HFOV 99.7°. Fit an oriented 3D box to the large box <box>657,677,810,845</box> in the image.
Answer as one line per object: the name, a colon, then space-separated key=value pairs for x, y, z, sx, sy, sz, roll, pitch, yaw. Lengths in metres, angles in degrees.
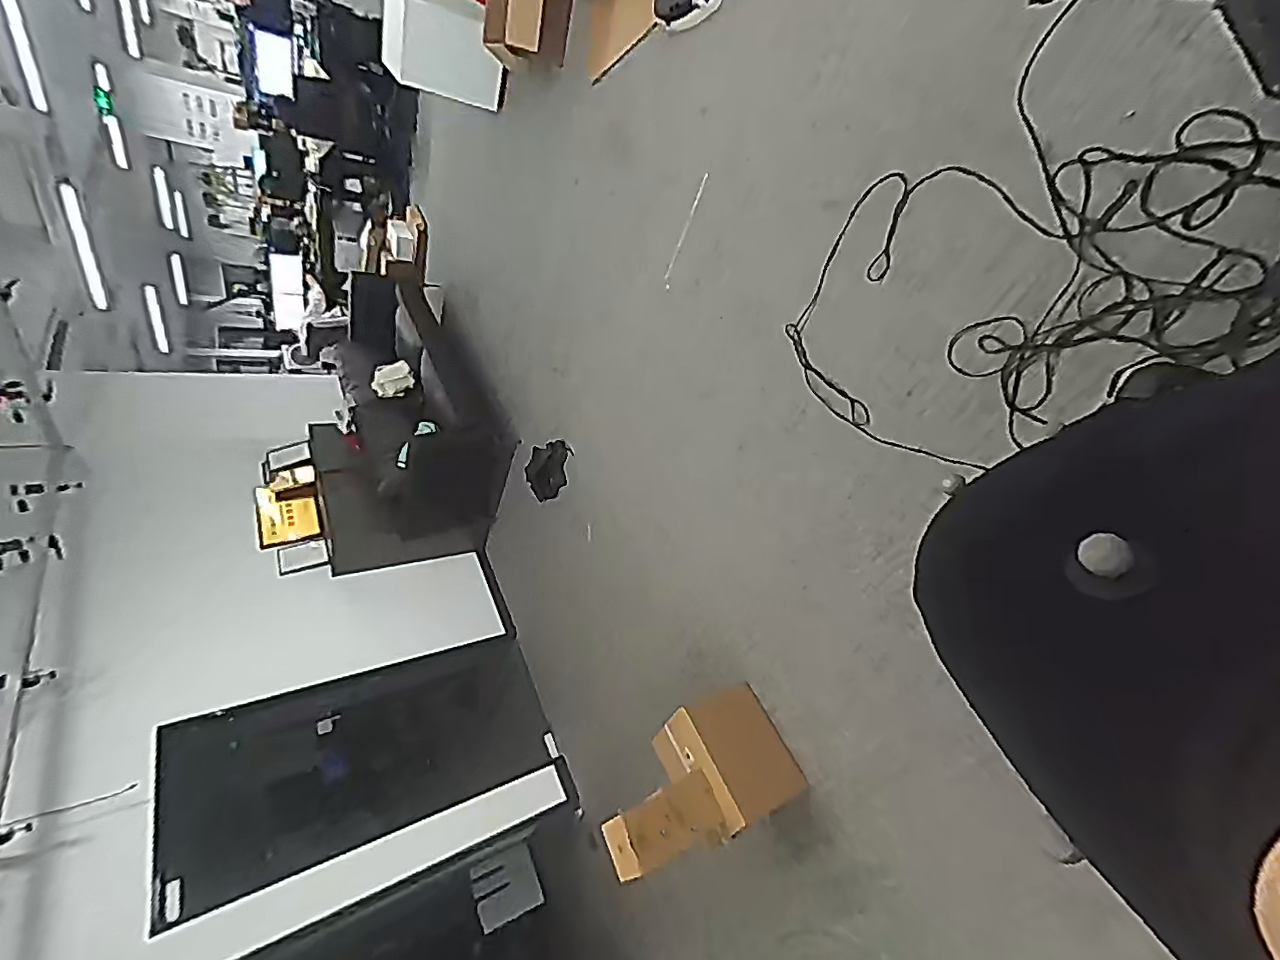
large box: x=0.326 y=1.005 z=1.961 sx=0.408 sy=0.320 sz=0.320 roll=58 pitch=138 yaw=34

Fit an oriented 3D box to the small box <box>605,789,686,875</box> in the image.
small box: x=0.018 y=1.106 z=1.702 sx=0.168 sy=0.176 sz=0.179 roll=62 pitch=140 yaw=29
